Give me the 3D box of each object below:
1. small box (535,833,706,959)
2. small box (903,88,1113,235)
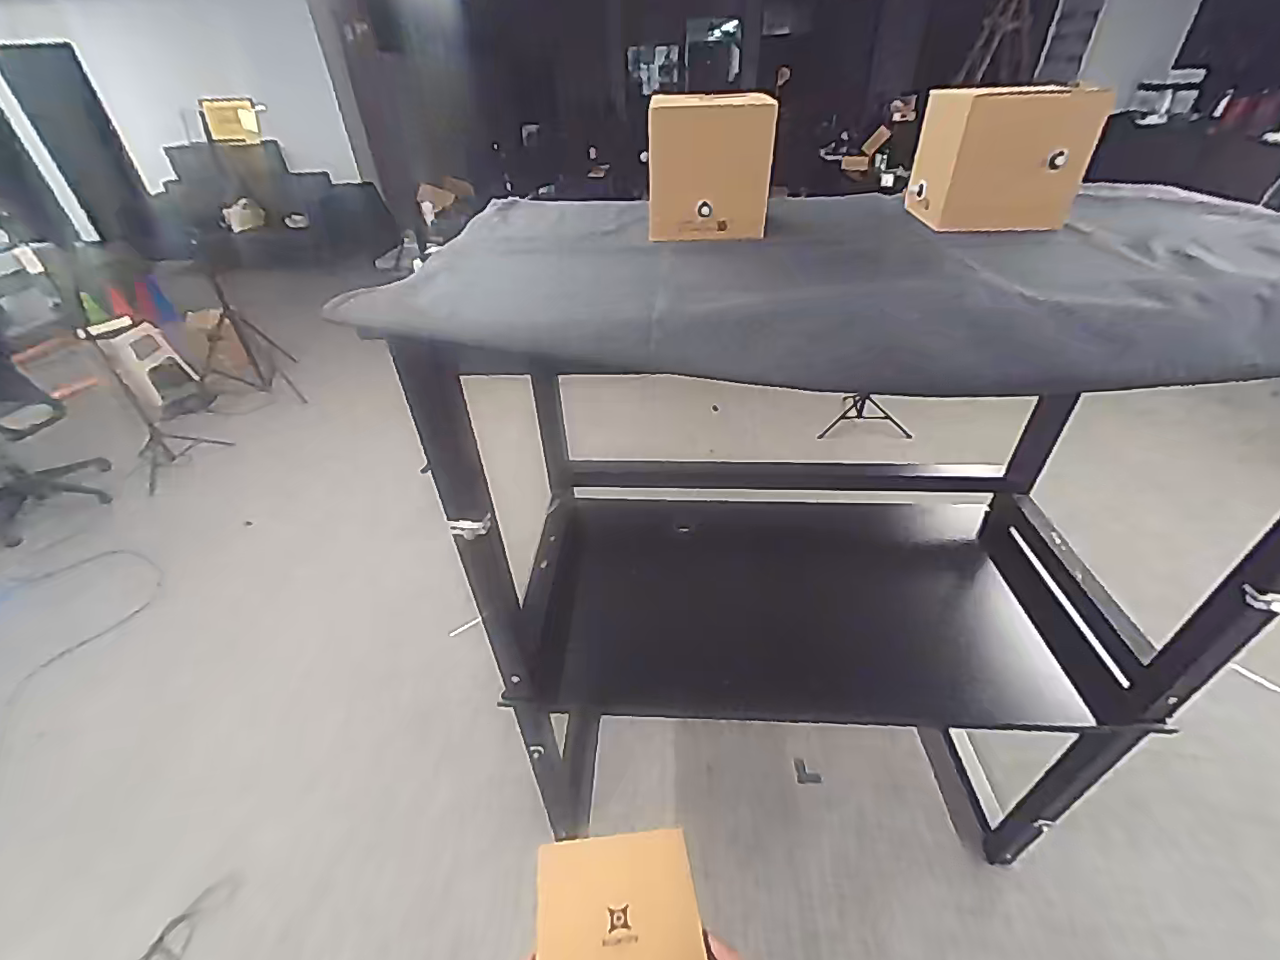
[{"bbox_3d":[-0.026,0.516,0.568,0.168,0.176,0.179,-1,26,-8],"label":"small box"},{"bbox_3d":[0.517,-0.467,0.793,0.179,0.176,0.168,2,37,5],"label":"small box"}]
